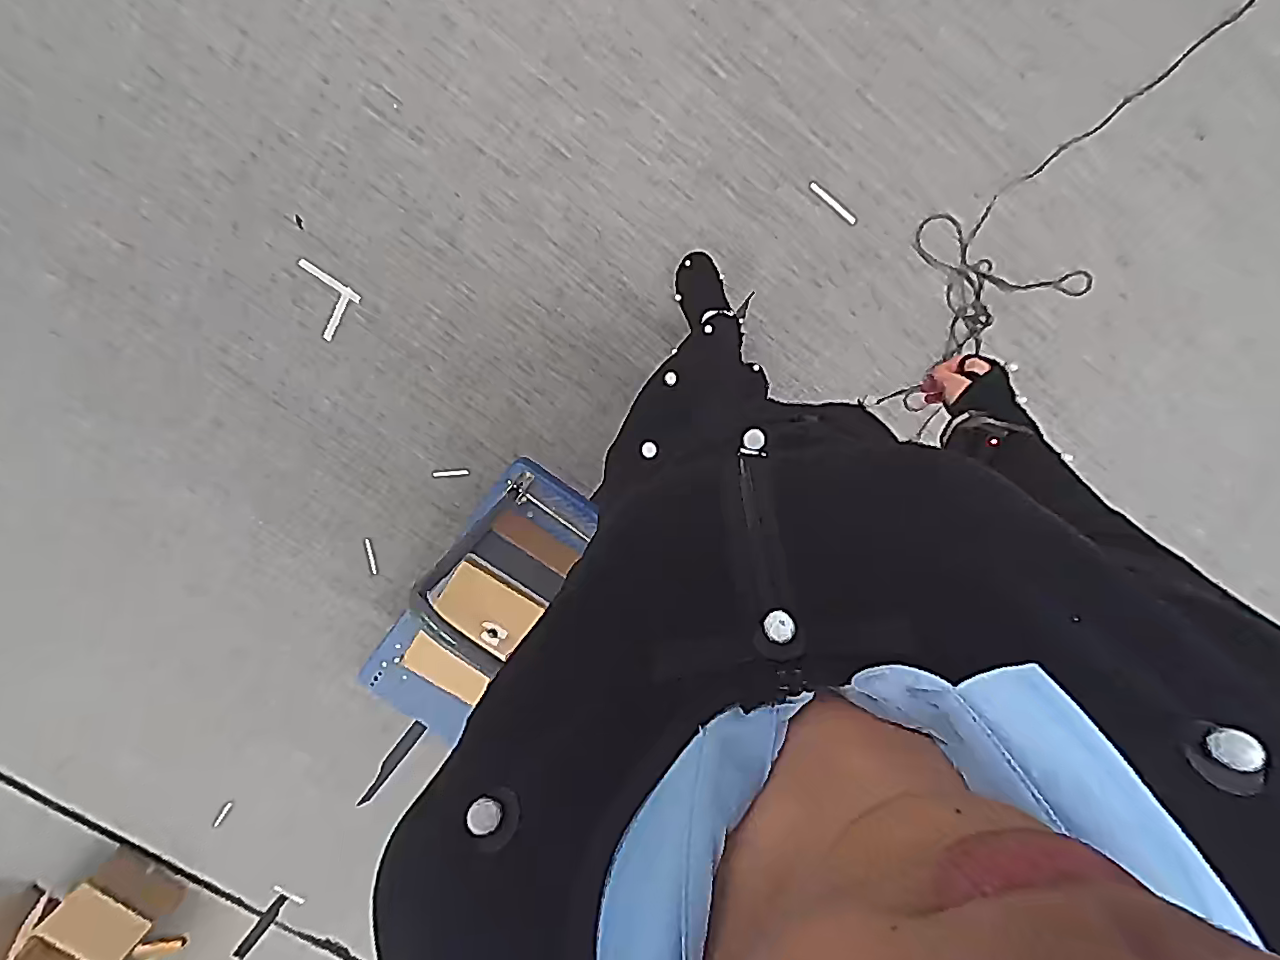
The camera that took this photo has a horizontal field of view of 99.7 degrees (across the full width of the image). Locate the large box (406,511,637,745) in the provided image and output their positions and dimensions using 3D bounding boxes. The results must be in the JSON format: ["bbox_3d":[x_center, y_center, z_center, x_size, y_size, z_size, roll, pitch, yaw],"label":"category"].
[{"bbox_3d":[-0.262,0.342,1.317,0.408,0.320,0.320,33,106,-6],"label":"large box"}]
